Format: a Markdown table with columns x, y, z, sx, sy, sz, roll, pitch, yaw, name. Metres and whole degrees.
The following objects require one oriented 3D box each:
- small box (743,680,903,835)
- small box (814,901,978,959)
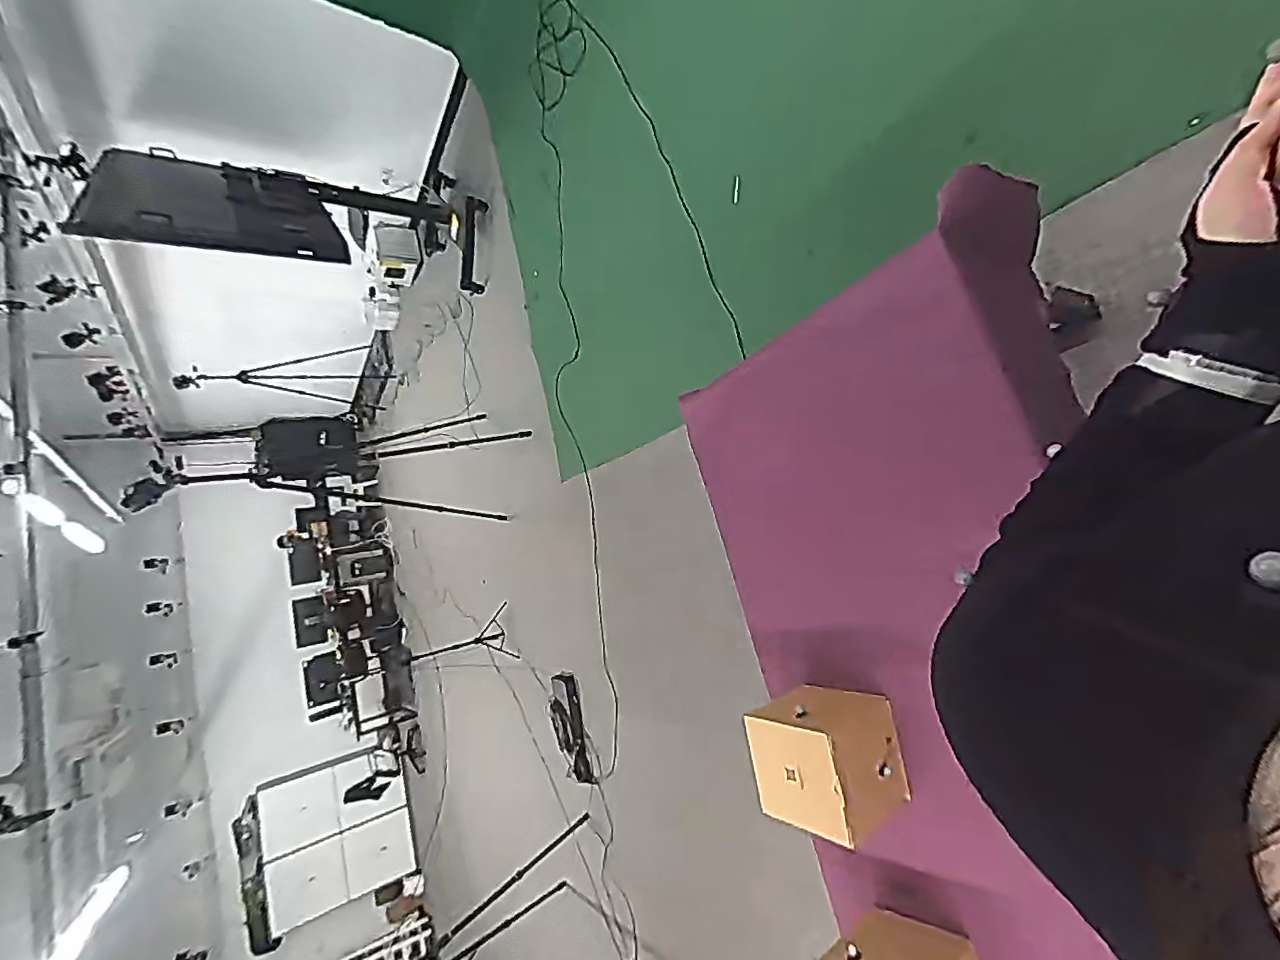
| x | y | z | sx | sy | sz | roll | pitch | yaw | name |
| --- | --- | --- | --- | --- | --- | --- | --- | --- | --- |
| 0.307 | 0.451 | 0.914 | 0.179 | 0.176 | 0.168 | -17 | 82 | 52 | small box |
| 0.407 | 0.794 | 0.828 | 0.179 | 0.176 | 0.168 | -29 | 72 | 52 | small box |
